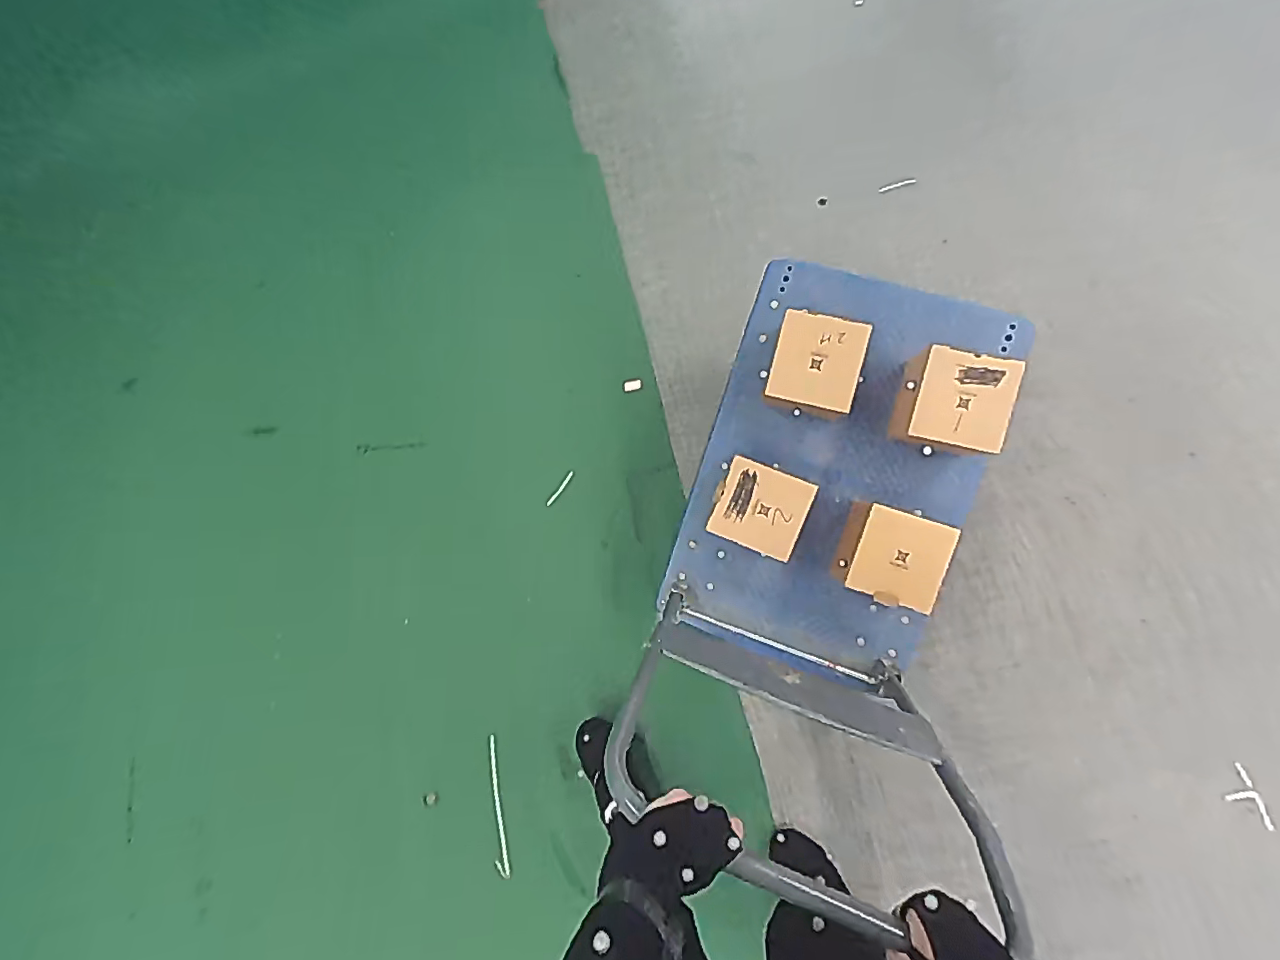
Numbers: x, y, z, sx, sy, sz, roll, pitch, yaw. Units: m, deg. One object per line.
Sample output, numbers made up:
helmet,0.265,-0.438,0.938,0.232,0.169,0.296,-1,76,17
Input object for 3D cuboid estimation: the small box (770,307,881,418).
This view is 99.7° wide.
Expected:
small box,0.372,-0.234,1.121,0.168,0.176,0.179,16,94,9

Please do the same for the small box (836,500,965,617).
small box,0.518,0.149,1.105,0.168,0.176,0.179,20,96,10

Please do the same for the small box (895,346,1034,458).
small box,0.630,-0.147,1.076,0.168,0.176,0.179,16,95,10
